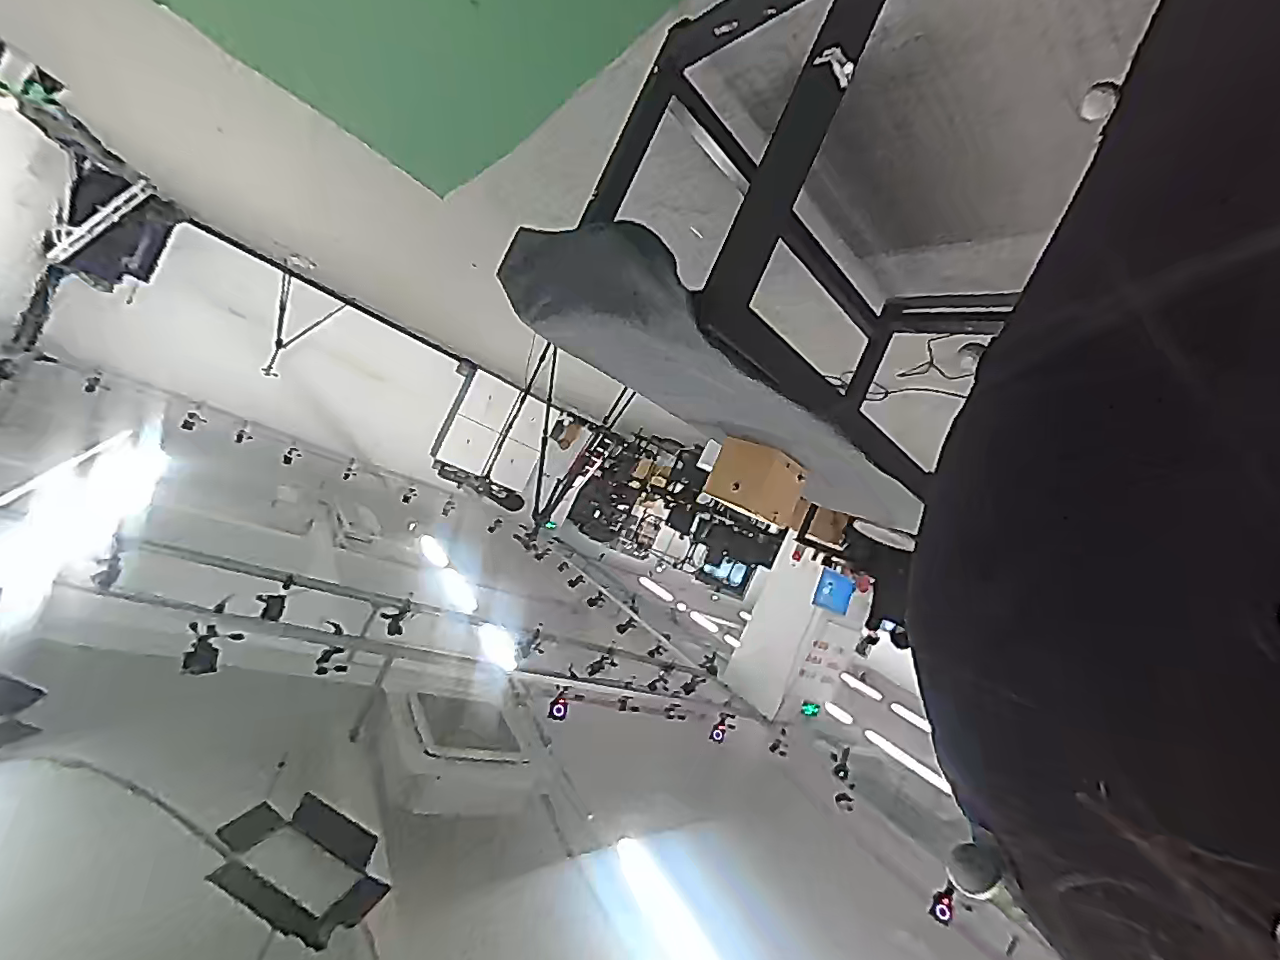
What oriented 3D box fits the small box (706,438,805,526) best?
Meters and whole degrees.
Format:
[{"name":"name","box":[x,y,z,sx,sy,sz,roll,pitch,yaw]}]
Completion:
[{"name":"small box","box":[0.309,0.001,1.418,0.168,0.176,0.179,26,178,-41]}]
